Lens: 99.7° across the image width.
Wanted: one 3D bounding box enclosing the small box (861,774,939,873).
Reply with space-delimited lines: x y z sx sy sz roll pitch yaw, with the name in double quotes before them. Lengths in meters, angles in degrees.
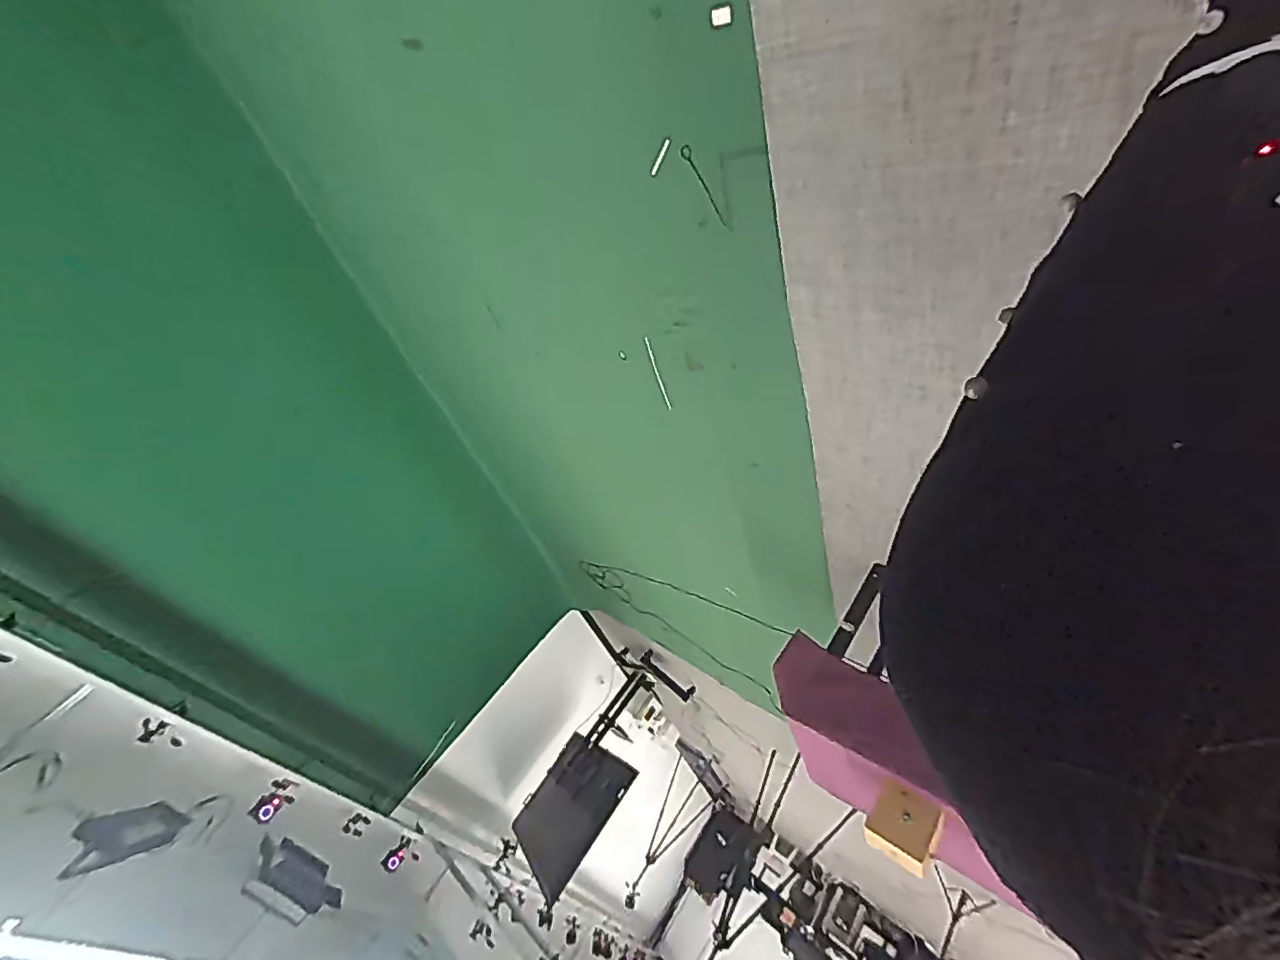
"small box" 0.785 1.029 1.630 0.168 0.176 0.179 19 146 40
